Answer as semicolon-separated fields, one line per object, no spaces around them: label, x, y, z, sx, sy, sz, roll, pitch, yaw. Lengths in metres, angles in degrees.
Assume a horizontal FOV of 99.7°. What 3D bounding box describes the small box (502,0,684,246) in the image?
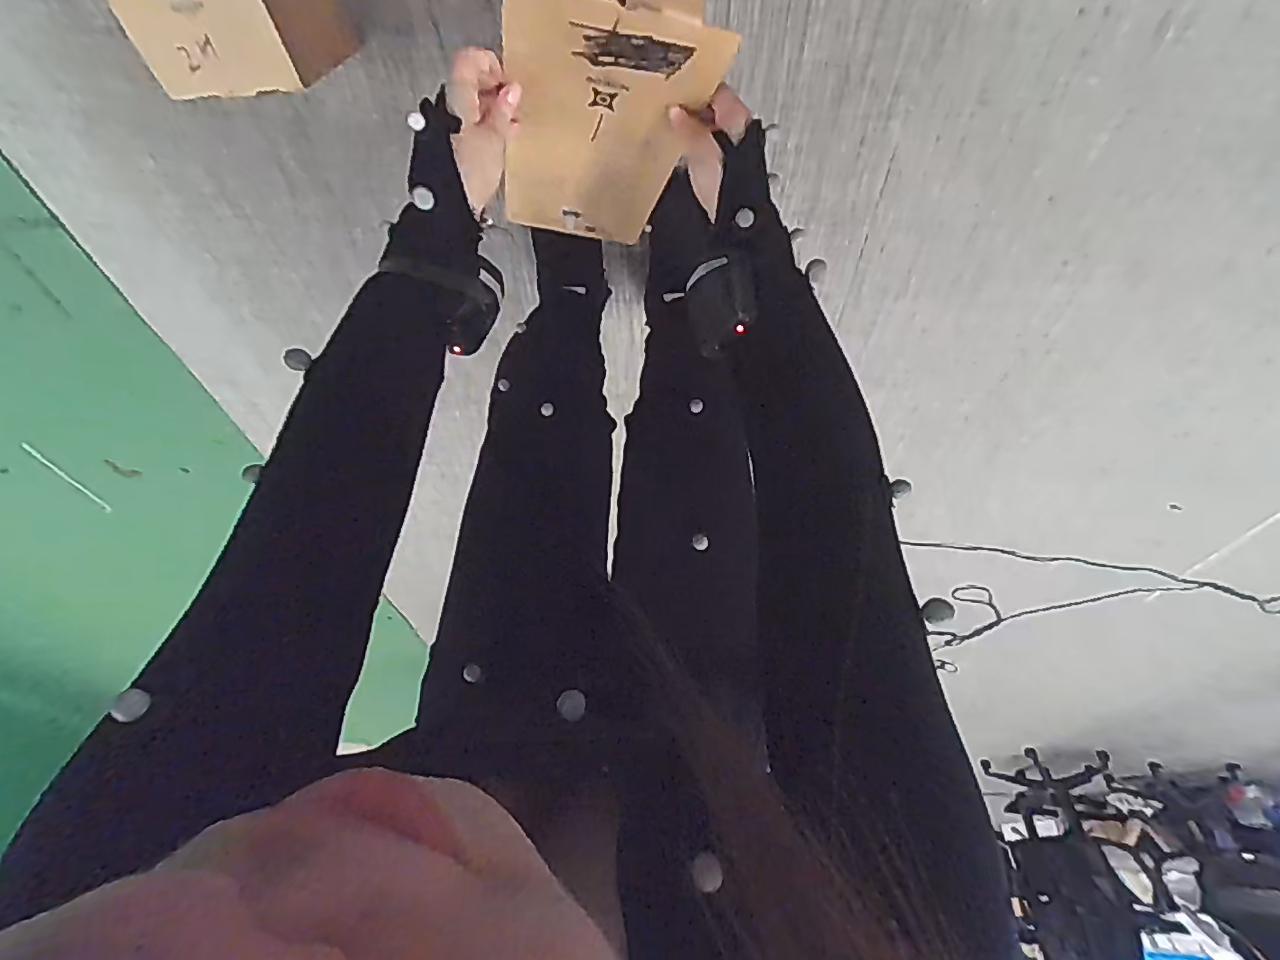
small box;-0.060;-0.391;0.593;0.168;0.179;0.176;5;177;-14

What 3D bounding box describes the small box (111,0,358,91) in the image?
small box;-0.442;-0.547;0.576;0.168;0.176;0.179;0;141;6
